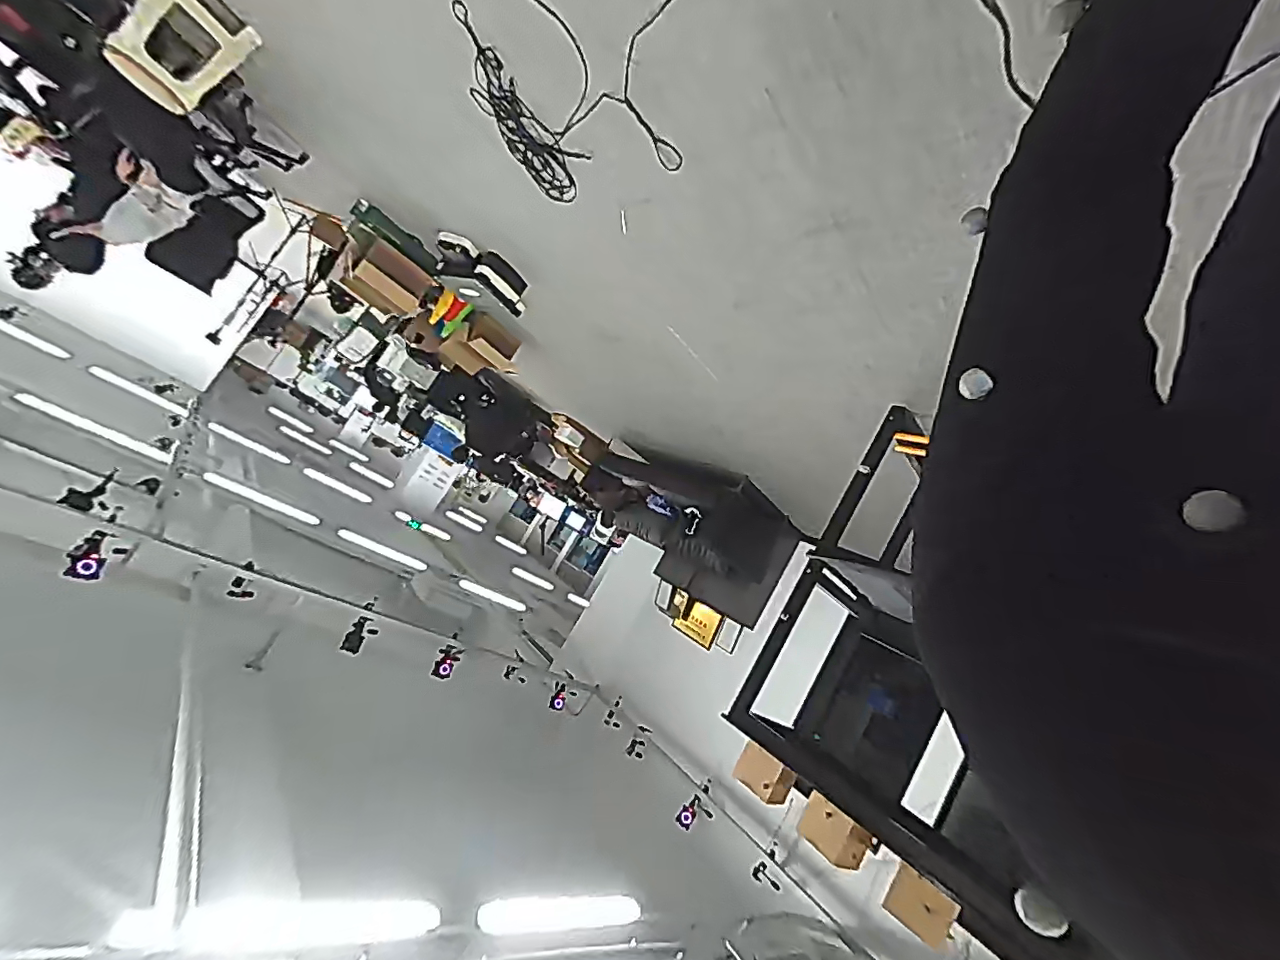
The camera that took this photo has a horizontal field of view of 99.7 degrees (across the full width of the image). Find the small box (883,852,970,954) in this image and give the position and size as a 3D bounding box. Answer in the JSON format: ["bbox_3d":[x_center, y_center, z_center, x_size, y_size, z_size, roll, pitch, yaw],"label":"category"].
[{"bbox_3d":[0.855,1.246,1.608,0.168,0.176,0.179,24,170,43],"label":"small box"}]

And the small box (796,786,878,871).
[{"bbox_3d":[0.669,1.171,1.823,0.179,0.176,0.168,36,170,-34],"label":"small box"}]
